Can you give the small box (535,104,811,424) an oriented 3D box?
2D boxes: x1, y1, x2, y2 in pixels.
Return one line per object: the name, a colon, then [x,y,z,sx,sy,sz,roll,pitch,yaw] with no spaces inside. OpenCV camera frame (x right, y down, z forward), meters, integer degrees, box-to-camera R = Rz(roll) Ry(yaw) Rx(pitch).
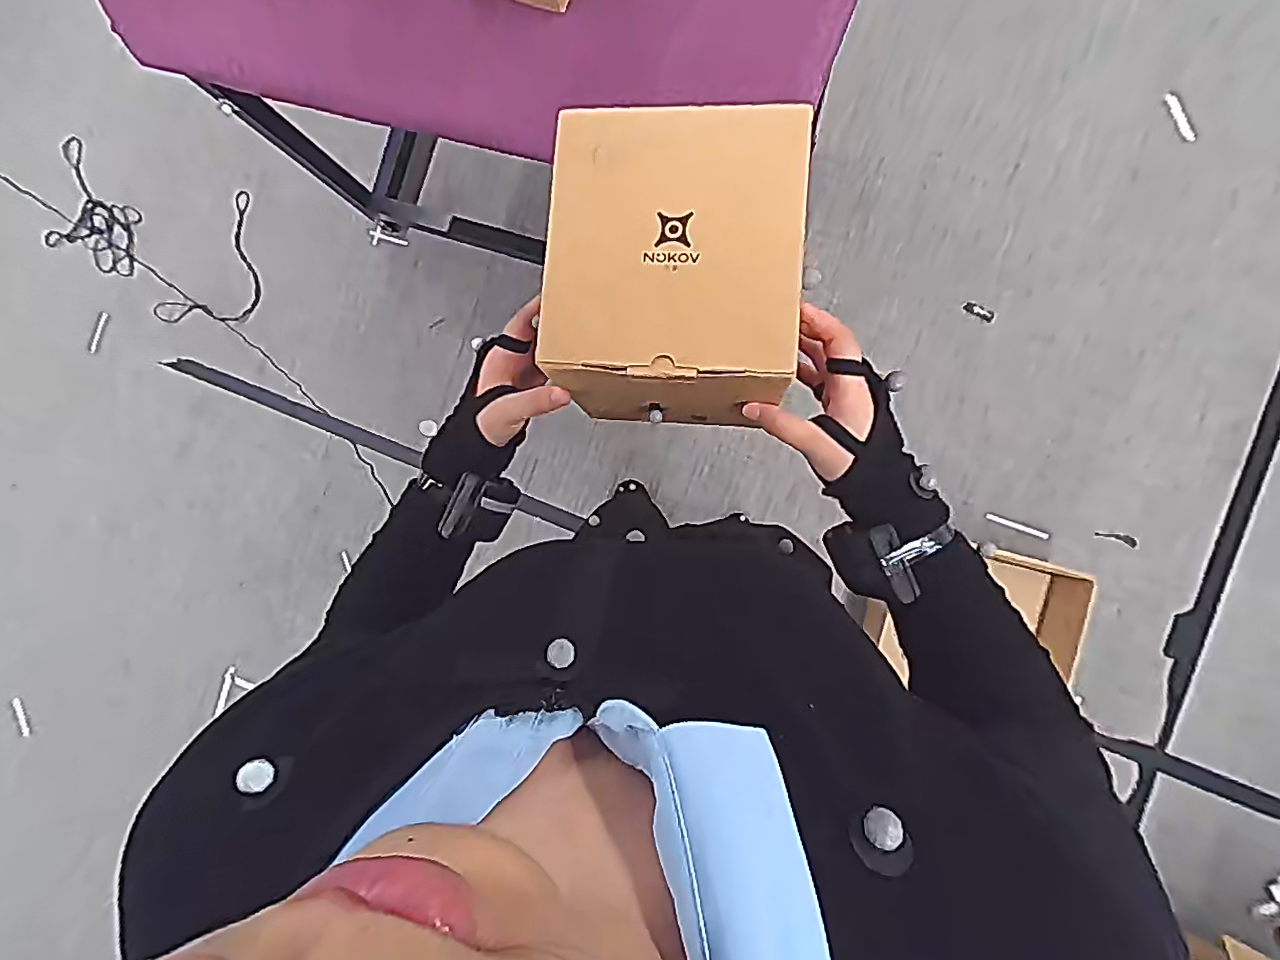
small box: [0.029,-0.149,0.421,0.168,0.176,0.179,4,86,7]
